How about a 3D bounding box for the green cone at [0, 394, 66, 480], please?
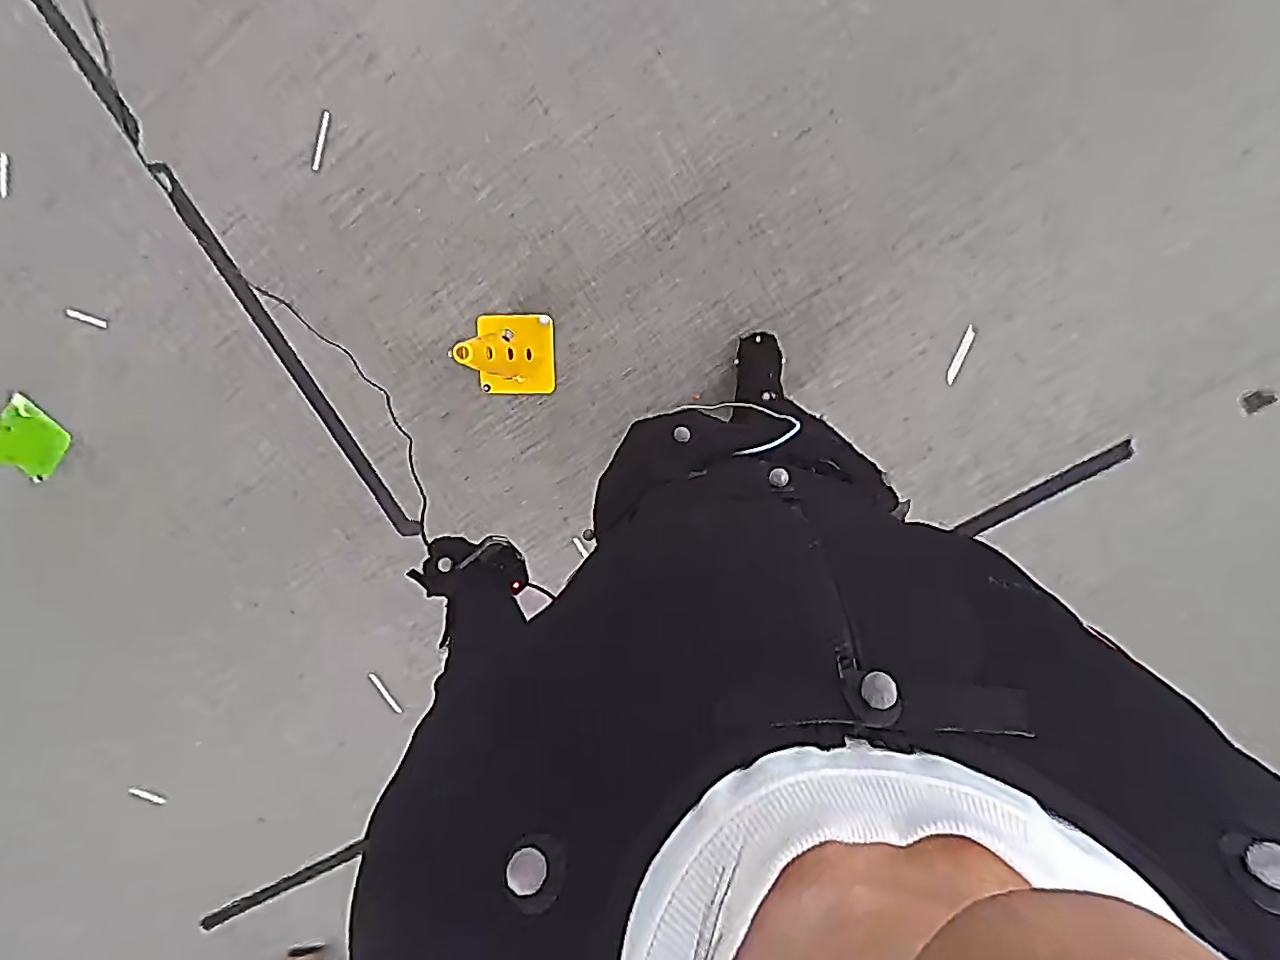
[{"bbox_3d":[-1.820,-0.091,1.424,0.202,0.368,0.200,43,102,-3],"label":"green cone"}]
